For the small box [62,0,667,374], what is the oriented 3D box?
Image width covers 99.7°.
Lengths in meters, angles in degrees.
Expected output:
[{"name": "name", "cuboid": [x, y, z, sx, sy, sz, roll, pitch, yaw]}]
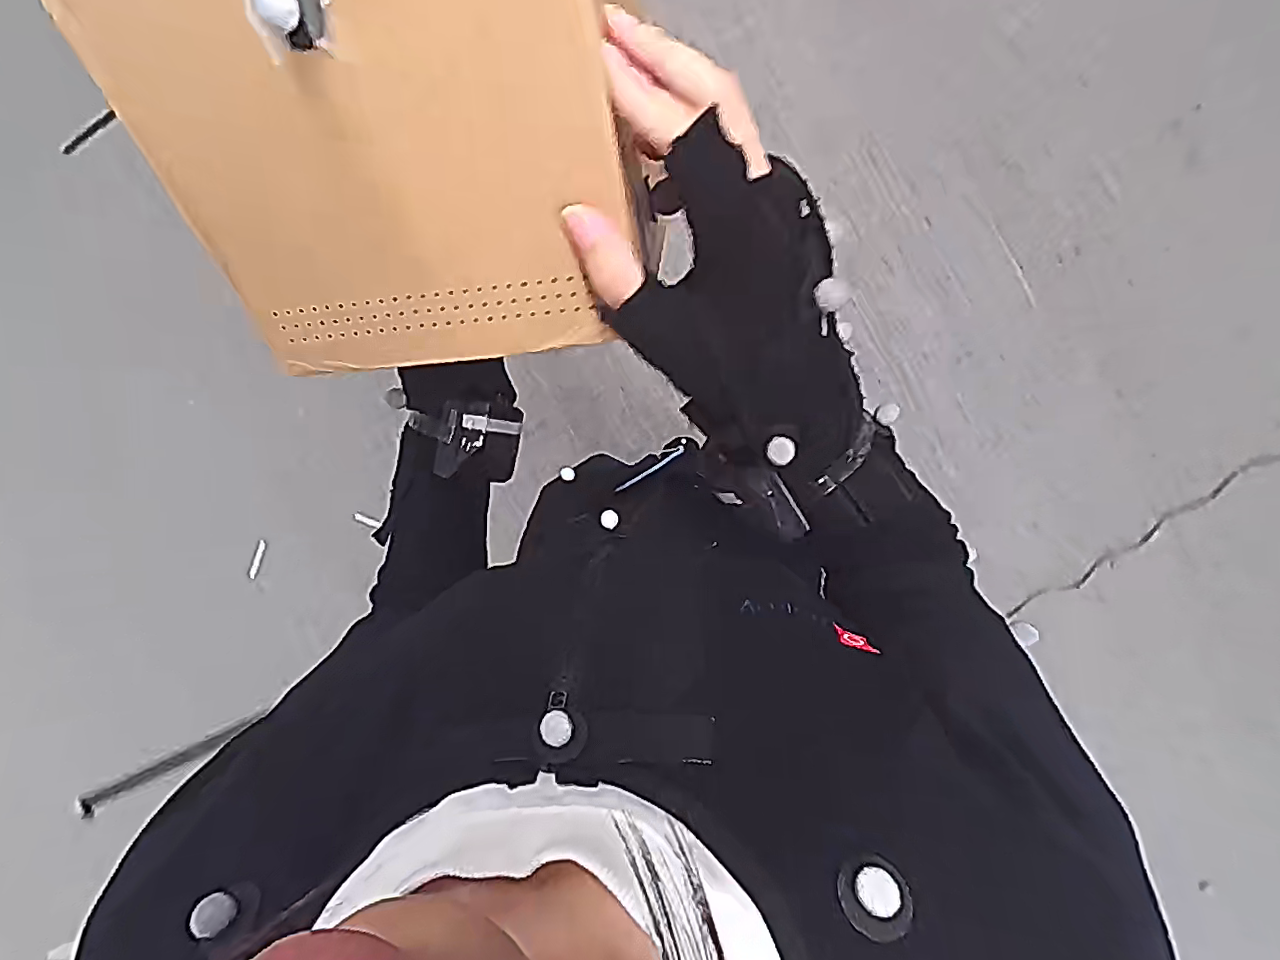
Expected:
[{"name": "small box", "cuboid": [-0.090, -0.164, 0.259, 0.179, 0.168, 0.176, -2, 133, 12]}]
